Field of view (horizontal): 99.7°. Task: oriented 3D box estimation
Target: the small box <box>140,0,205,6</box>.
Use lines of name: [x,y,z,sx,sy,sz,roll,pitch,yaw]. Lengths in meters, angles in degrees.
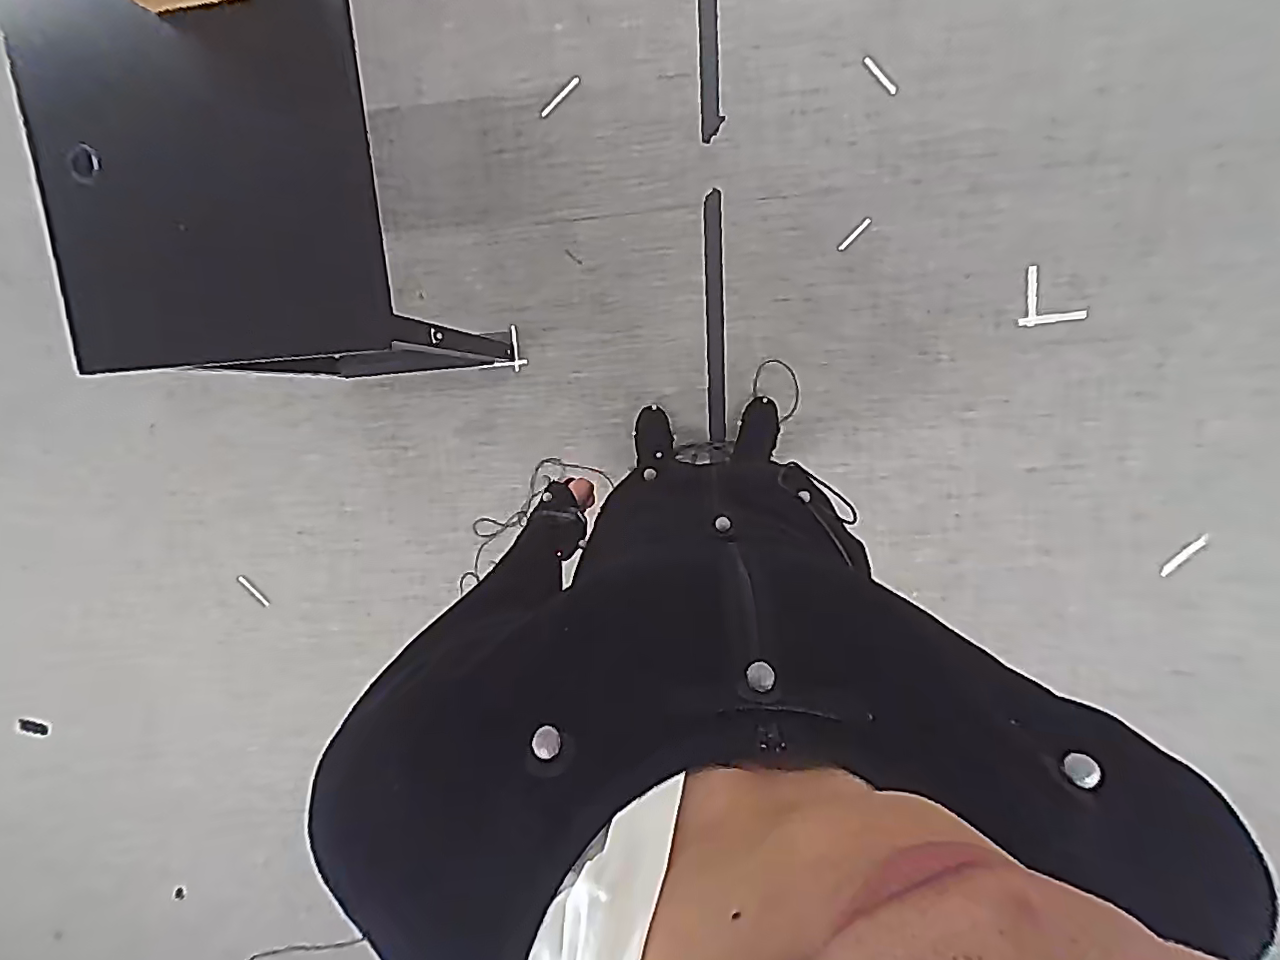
small box: [-0.720,-0.824,0.768,0.179,0.176,0.168,-3,99,6]
